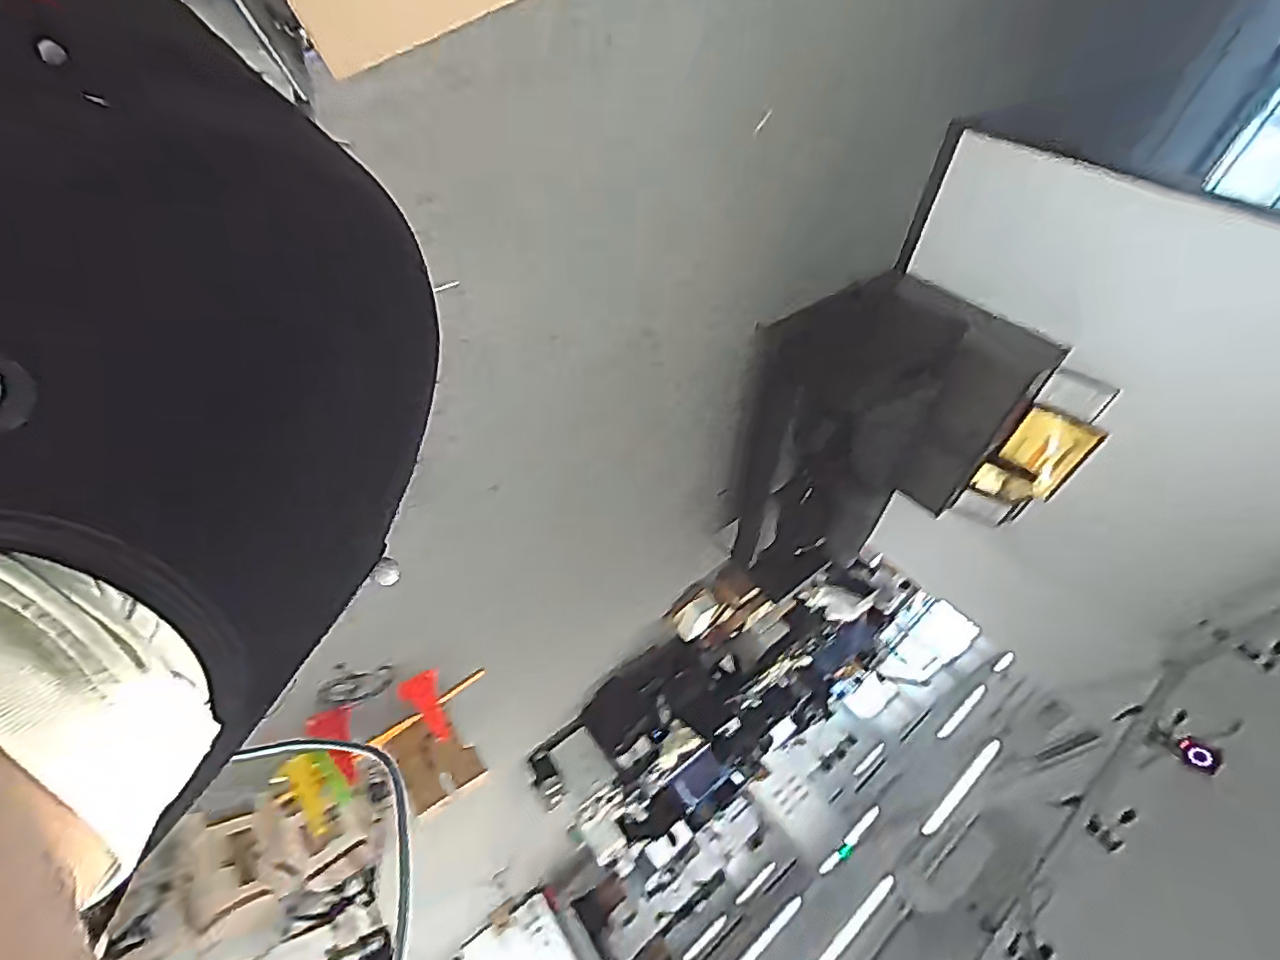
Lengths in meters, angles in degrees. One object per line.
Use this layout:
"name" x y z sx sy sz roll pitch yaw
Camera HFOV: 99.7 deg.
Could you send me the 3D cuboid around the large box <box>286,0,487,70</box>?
"large box" -0.418 -0.924 0.824 0.408 0.320 0.320 -29 148 -5
